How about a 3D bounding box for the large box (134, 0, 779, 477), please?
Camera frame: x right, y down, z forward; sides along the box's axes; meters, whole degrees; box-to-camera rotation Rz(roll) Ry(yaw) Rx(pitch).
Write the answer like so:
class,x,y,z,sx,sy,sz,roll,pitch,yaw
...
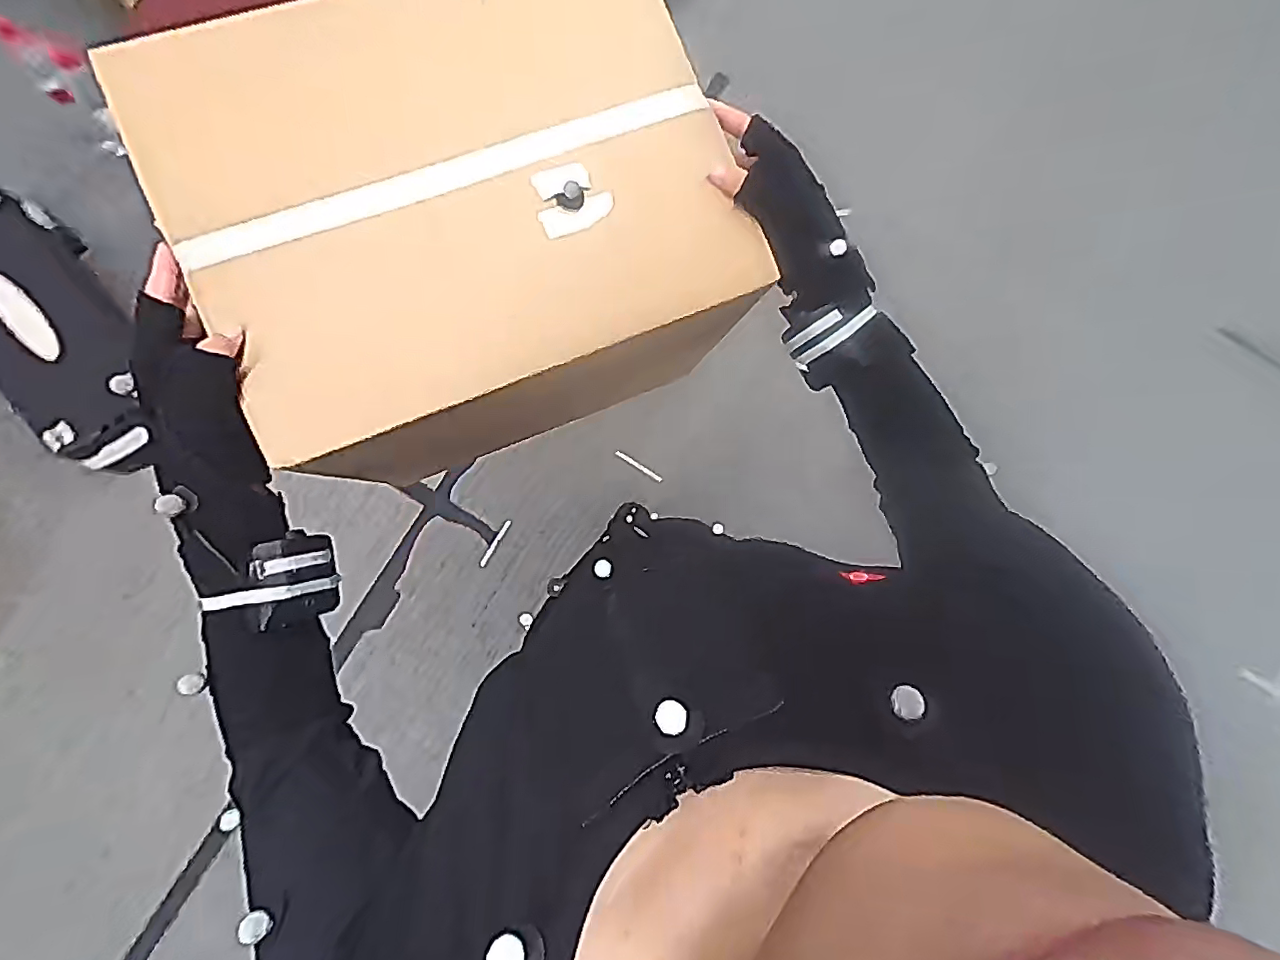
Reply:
class,x,y,z,sx,sy,sz,roll,pitch,yaw
large box,-0.145,-0.226,0.557,0.408,0.320,0.320,-22,91,-10
